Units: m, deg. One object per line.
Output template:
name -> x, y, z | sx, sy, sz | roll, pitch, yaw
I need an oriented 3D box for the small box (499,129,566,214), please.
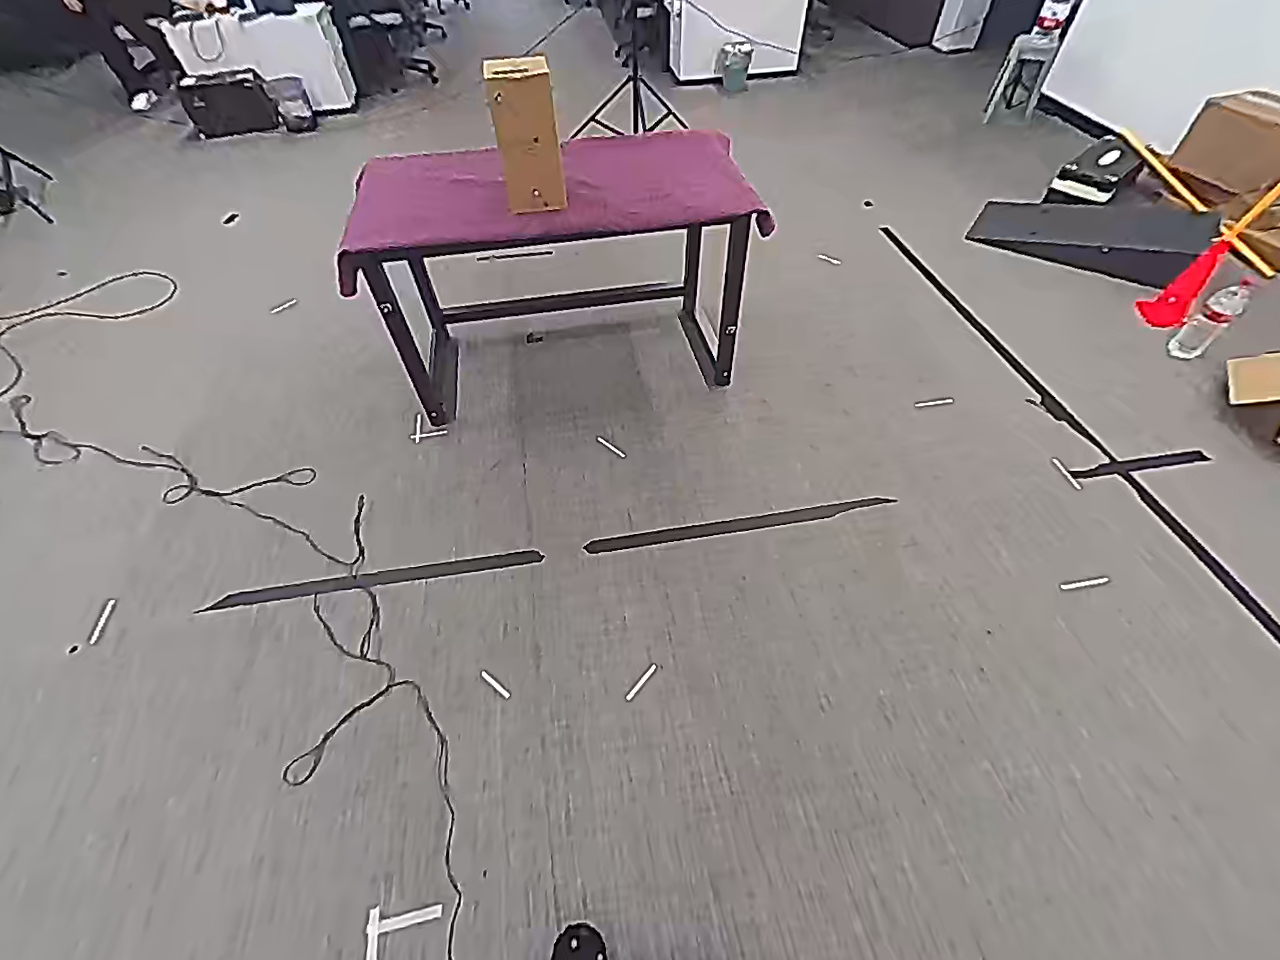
small box -> -0.314, -0.910, 1.595 | 0.168, 0.176, 0.179 | -8, 51, -4
